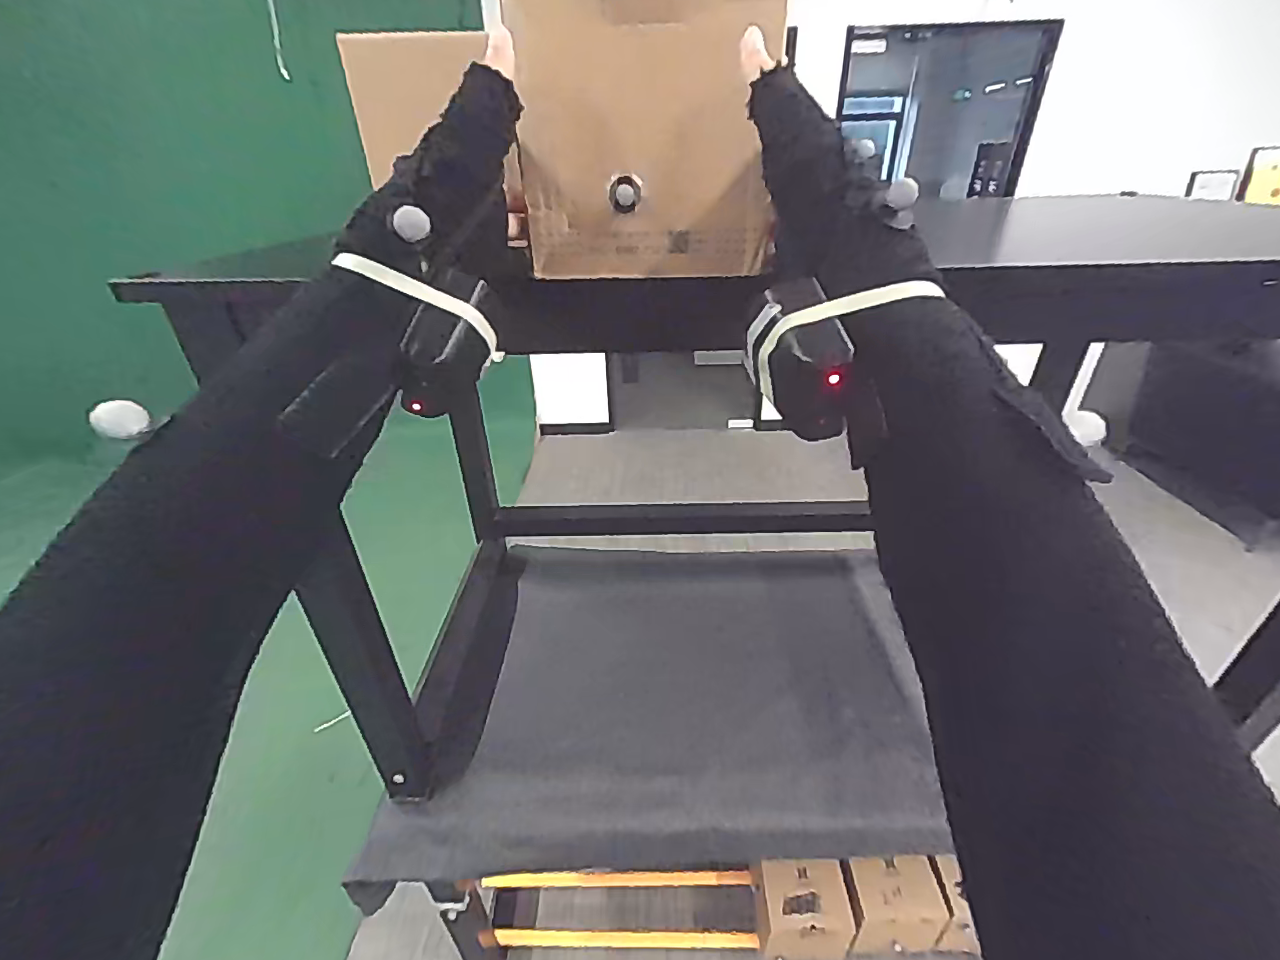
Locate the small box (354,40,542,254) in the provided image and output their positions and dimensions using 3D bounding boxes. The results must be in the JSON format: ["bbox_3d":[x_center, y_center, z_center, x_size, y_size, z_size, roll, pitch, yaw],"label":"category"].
[{"bbox_3d":[-0.163,-0.340,0.568,0.168,0.176,0.179,-3,32,-2],"label":"small box"}]

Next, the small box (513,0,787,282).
[{"bbox_3d":[0.008,-0.259,0.424,0.168,0.176,0.179,0,31,2],"label":"small box"}]
